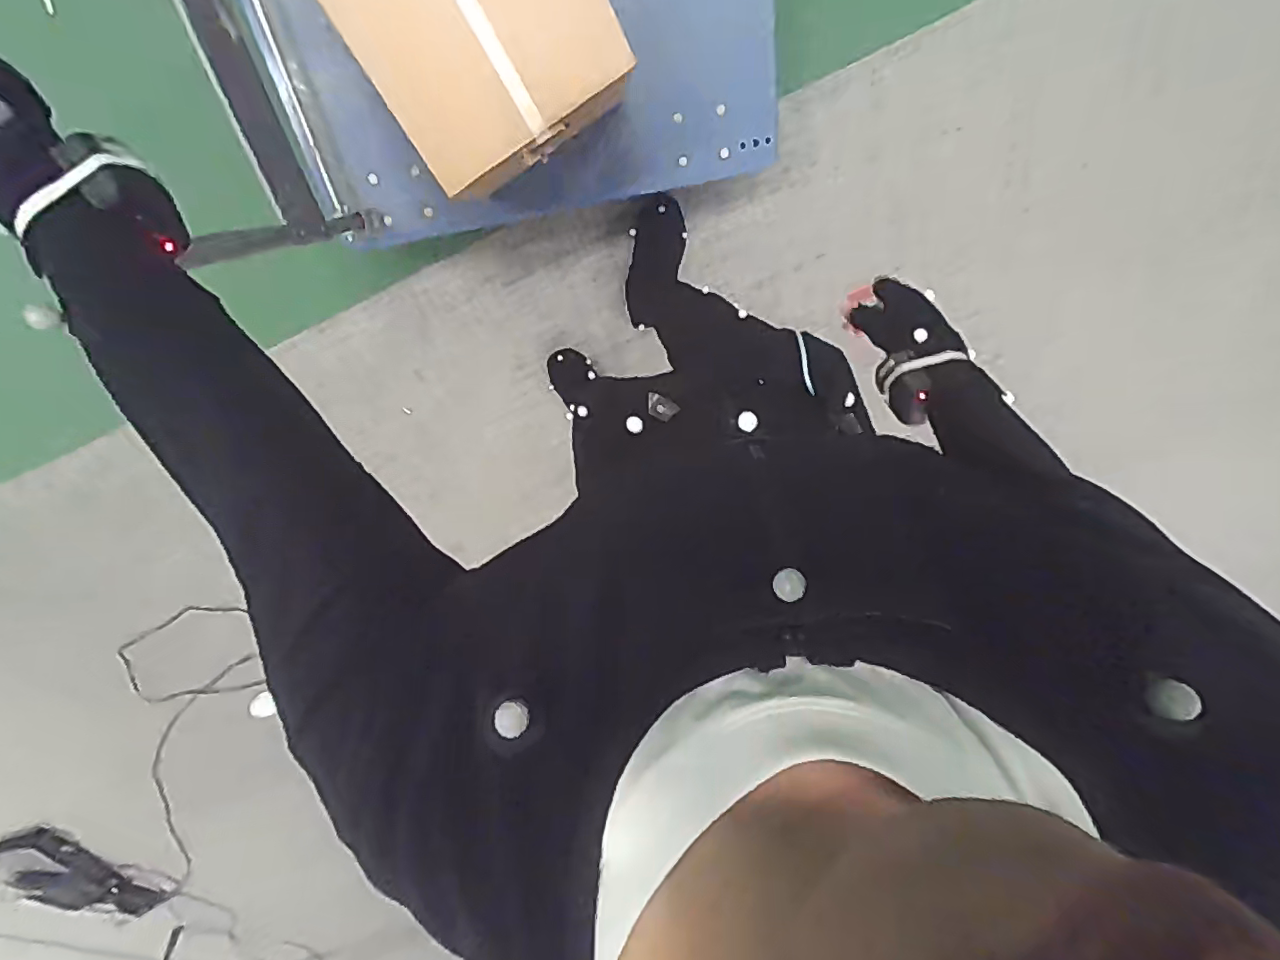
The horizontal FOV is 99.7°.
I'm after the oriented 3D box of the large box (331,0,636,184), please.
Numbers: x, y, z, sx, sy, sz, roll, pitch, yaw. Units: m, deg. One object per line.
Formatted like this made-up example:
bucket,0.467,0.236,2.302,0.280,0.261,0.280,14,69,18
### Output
large box,-0.239,-0.706,0.778,0.320,0.320,0.408,-28,116,10
